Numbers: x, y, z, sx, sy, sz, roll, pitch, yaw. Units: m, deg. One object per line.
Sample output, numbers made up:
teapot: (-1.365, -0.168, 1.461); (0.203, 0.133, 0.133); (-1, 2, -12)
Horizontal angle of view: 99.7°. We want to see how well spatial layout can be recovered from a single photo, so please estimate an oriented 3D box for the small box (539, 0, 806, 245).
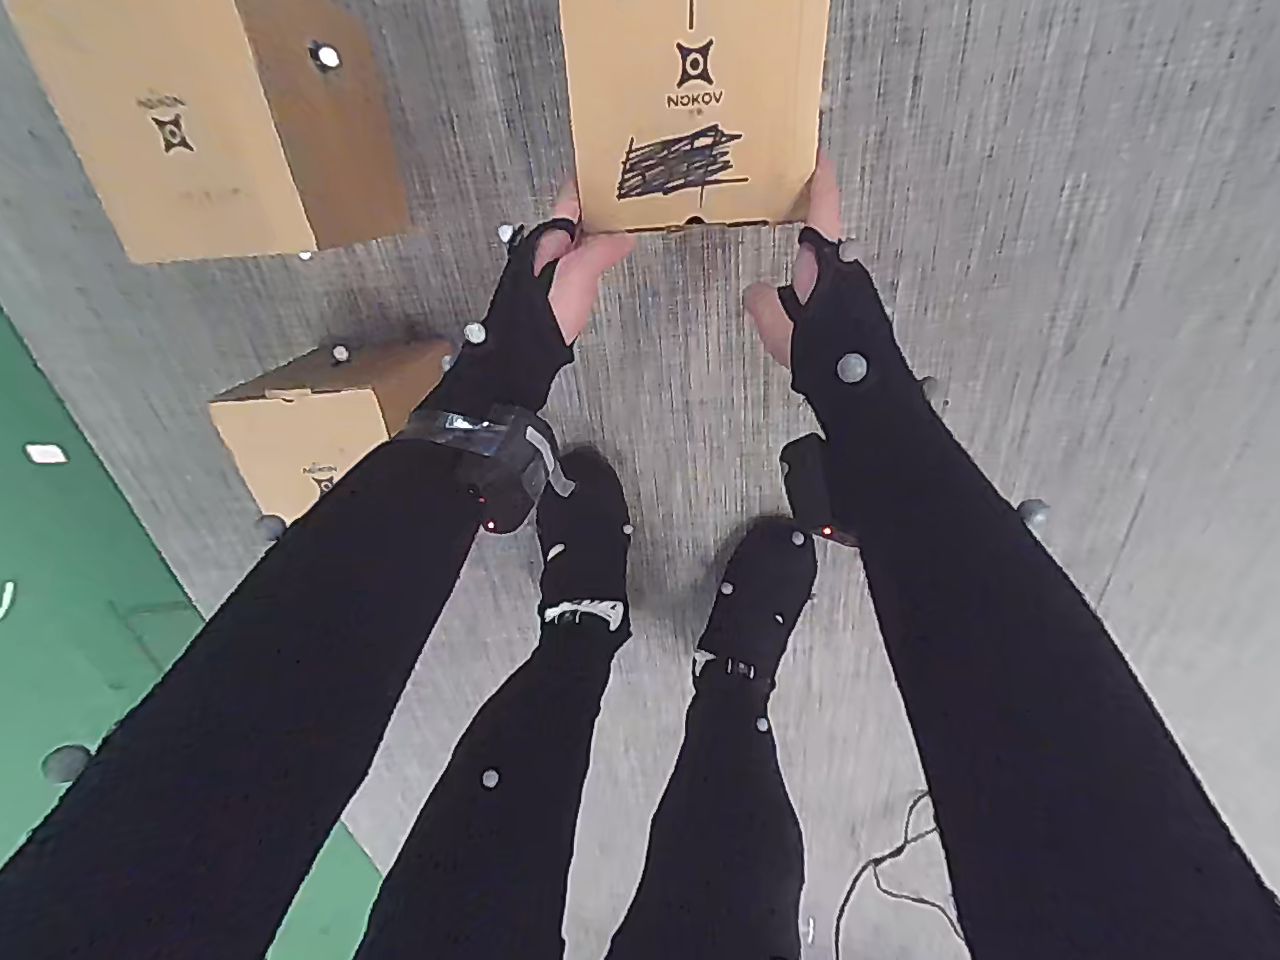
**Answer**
small box: (0.029, -0.291, 0.421); (0.168, 0.176, 0.179); (-1, 119, 6)
